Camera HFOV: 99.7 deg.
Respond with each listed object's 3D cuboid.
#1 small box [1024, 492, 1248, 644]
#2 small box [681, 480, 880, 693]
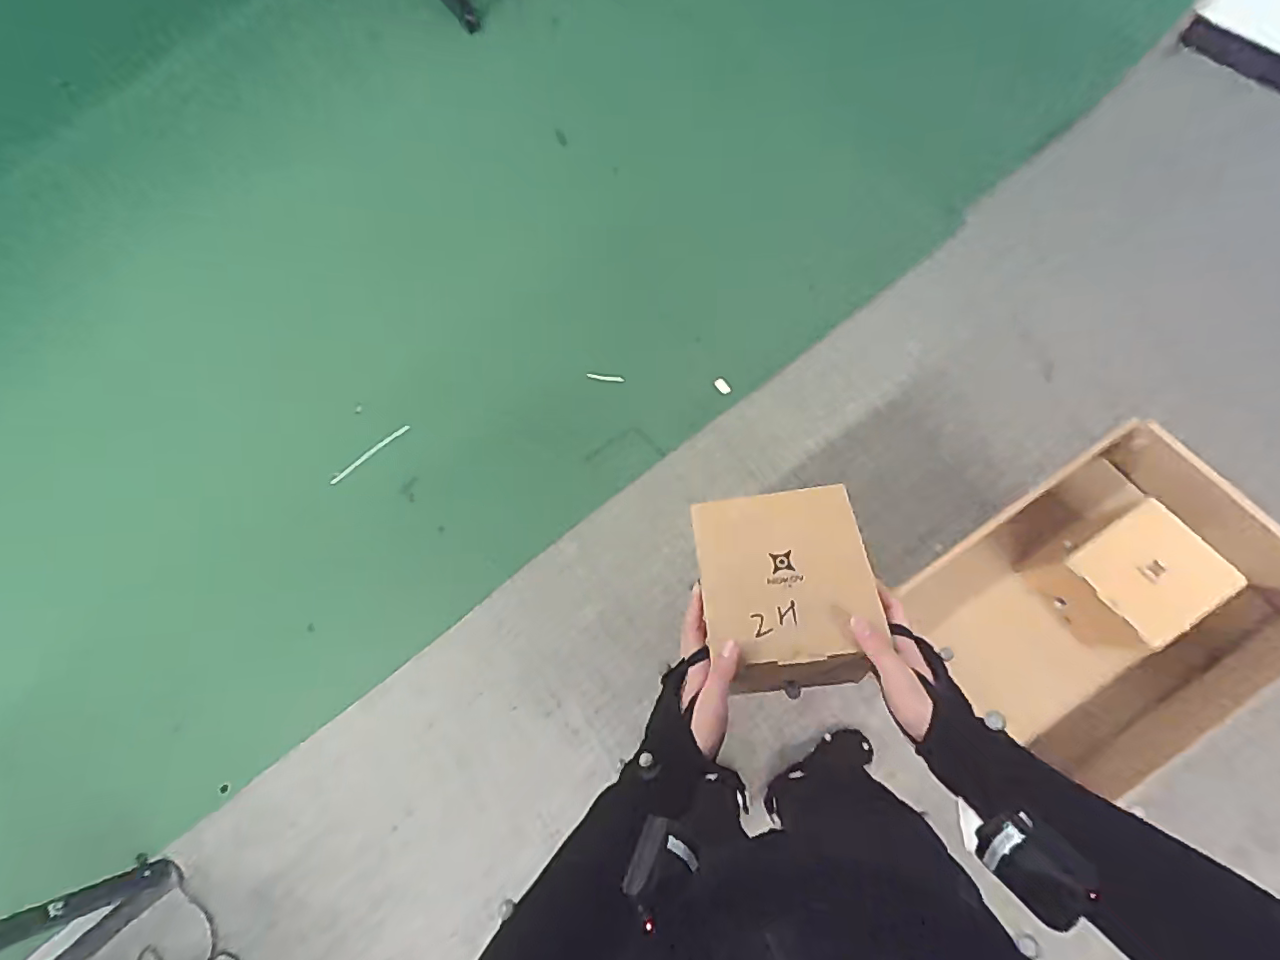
[{"bbox_3d":[0.791,0.149,0.889,0.179,0.176,0.168,-37,71,0],"label":"small box"},{"bbox_3d":[0.141,0.124,0.599,0.168,0.176,0.179,-10,59,6],"label":"small box"}]
